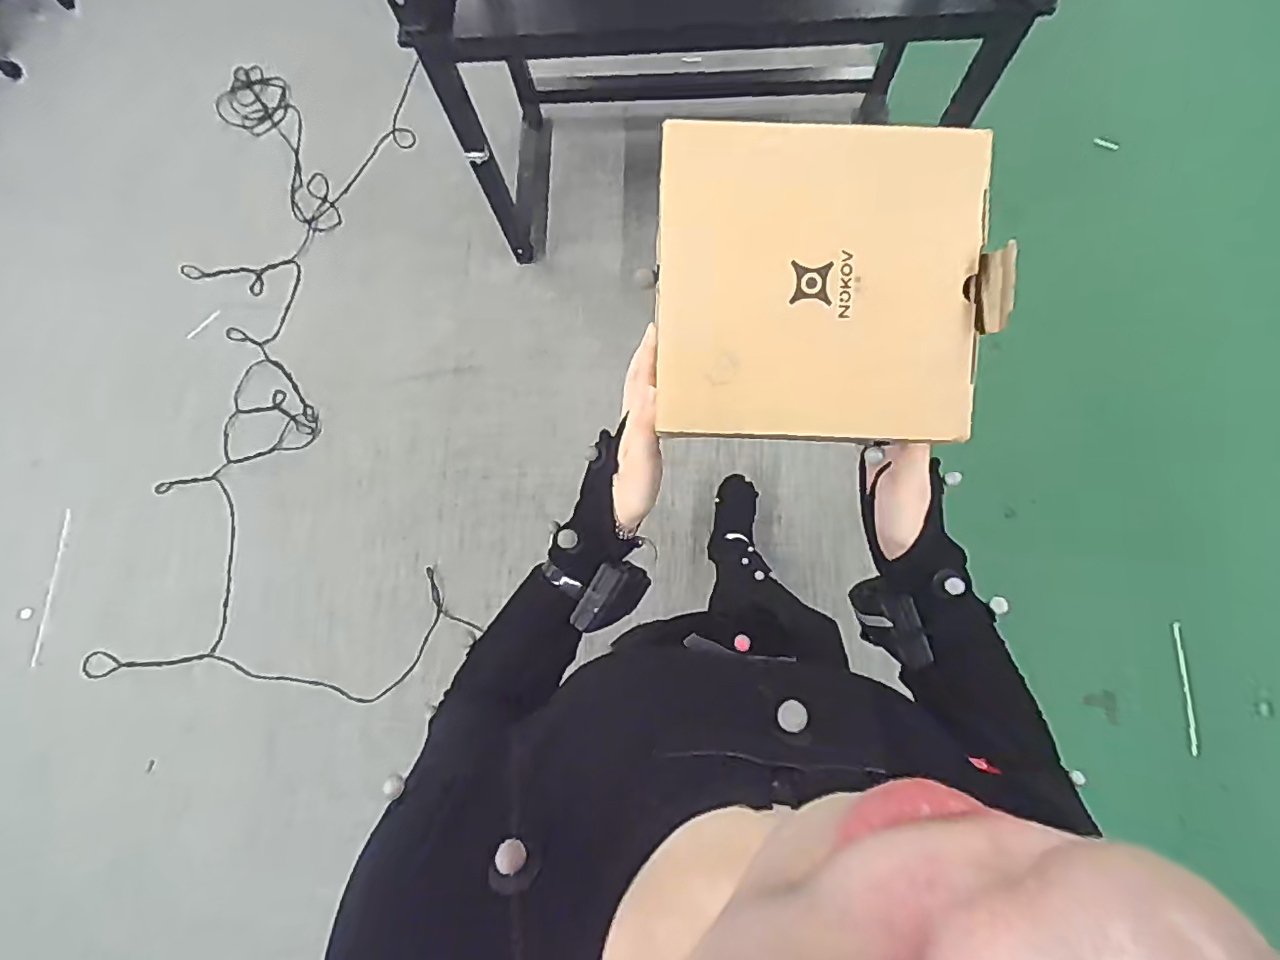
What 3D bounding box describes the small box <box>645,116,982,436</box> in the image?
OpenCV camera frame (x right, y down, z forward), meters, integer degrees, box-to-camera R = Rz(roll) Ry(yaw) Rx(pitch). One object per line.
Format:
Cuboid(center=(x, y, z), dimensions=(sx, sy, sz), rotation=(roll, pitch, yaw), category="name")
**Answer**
Cuboid(center=(0.093, -0.115, 0.371), dimensions=(0.179, 0.176, 0.168), rotation=(1, 95, 0), category="small box")
